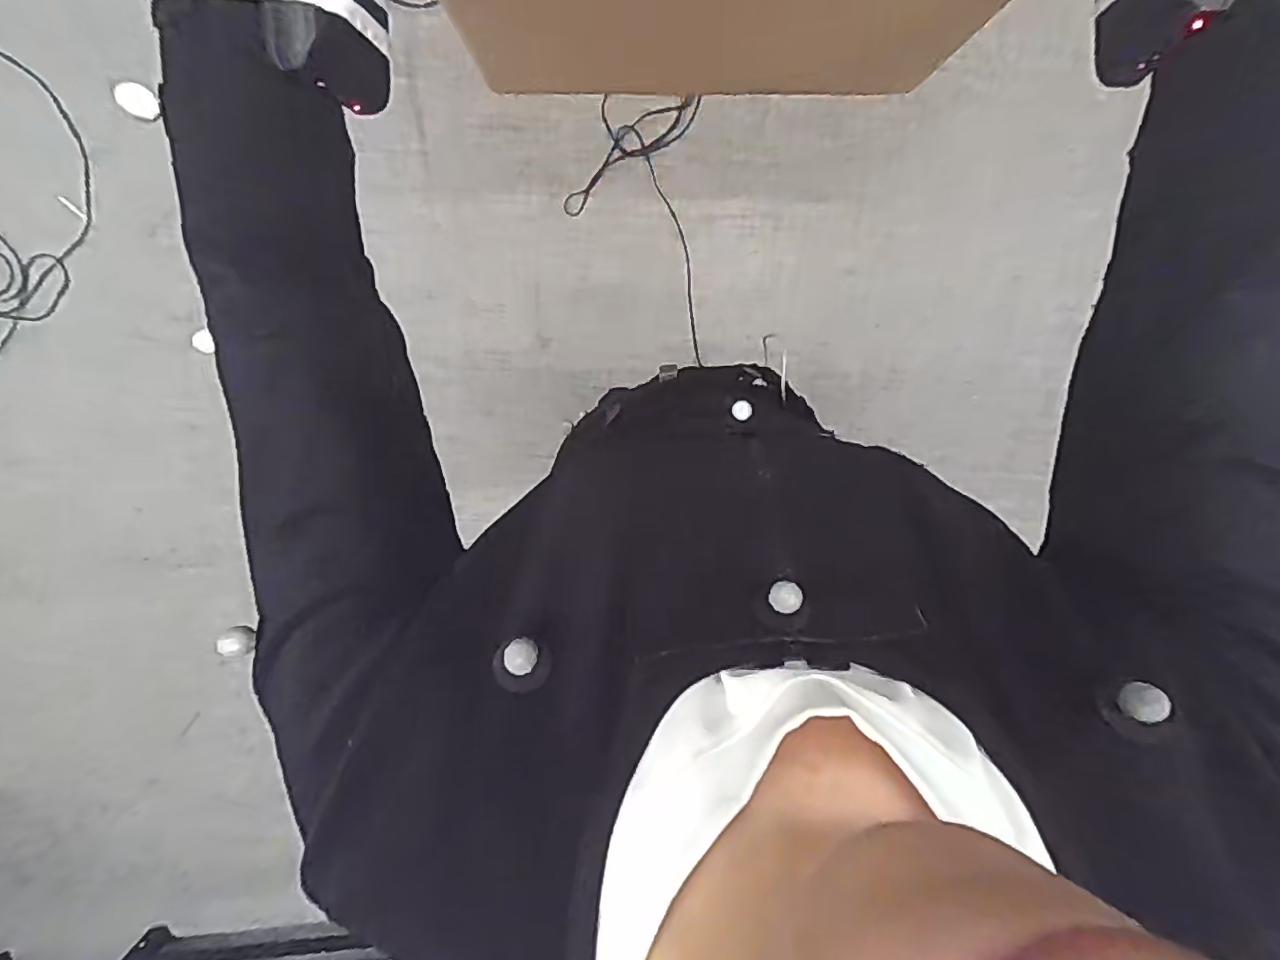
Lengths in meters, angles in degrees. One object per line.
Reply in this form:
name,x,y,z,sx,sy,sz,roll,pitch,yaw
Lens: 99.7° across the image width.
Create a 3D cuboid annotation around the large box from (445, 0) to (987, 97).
large box,0.055,-0.483,0.336,0.408,0.320,0.320,-1,104,-1
